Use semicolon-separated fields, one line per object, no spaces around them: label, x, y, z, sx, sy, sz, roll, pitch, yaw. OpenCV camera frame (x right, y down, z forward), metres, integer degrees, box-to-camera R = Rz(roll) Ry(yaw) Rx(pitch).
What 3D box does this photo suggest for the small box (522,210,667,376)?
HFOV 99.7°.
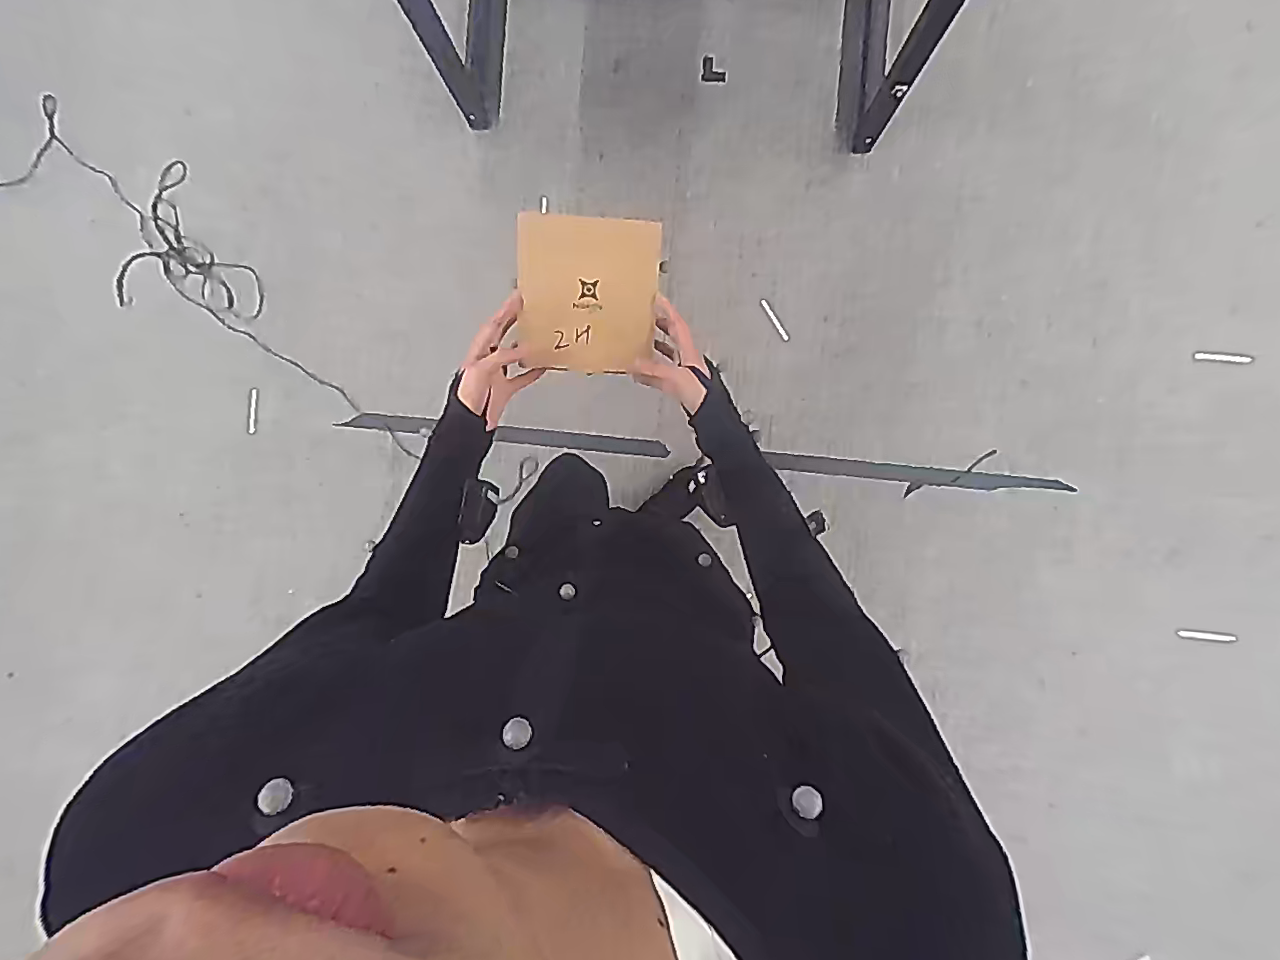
small box;-0.059;-0.240;0.711;0.168;0.176;0.179;3;109;-3
